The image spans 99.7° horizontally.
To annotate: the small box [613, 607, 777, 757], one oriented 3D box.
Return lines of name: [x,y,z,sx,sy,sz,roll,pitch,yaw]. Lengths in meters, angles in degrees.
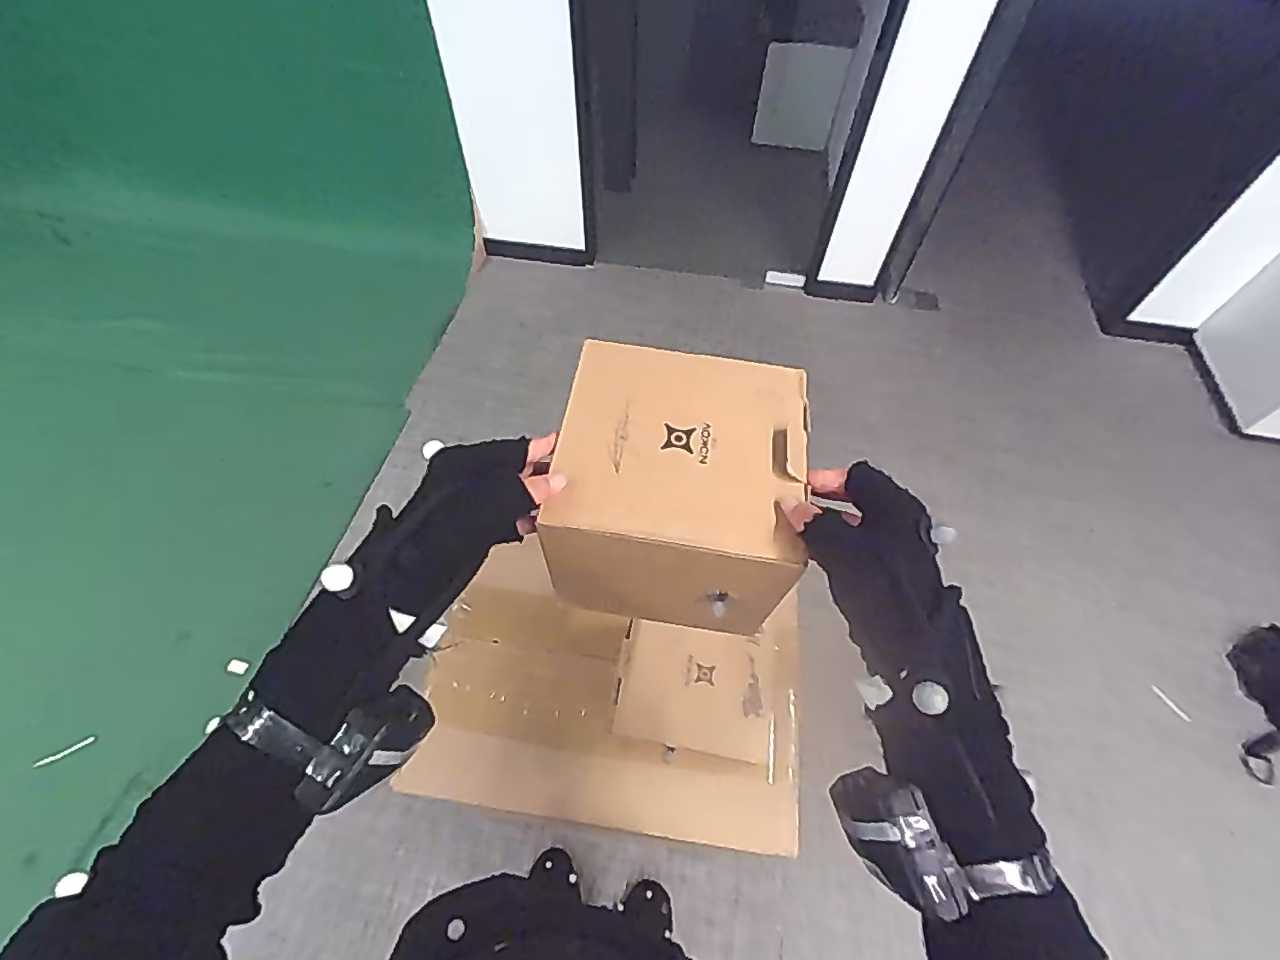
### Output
small box: [0.069,0.253,0.699,0.179,0.176,0.168,9,61,5]

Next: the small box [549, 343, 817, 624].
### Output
small box: [0.034,0.012,0.454,0.179,0.176,0.168,7,58,3]
